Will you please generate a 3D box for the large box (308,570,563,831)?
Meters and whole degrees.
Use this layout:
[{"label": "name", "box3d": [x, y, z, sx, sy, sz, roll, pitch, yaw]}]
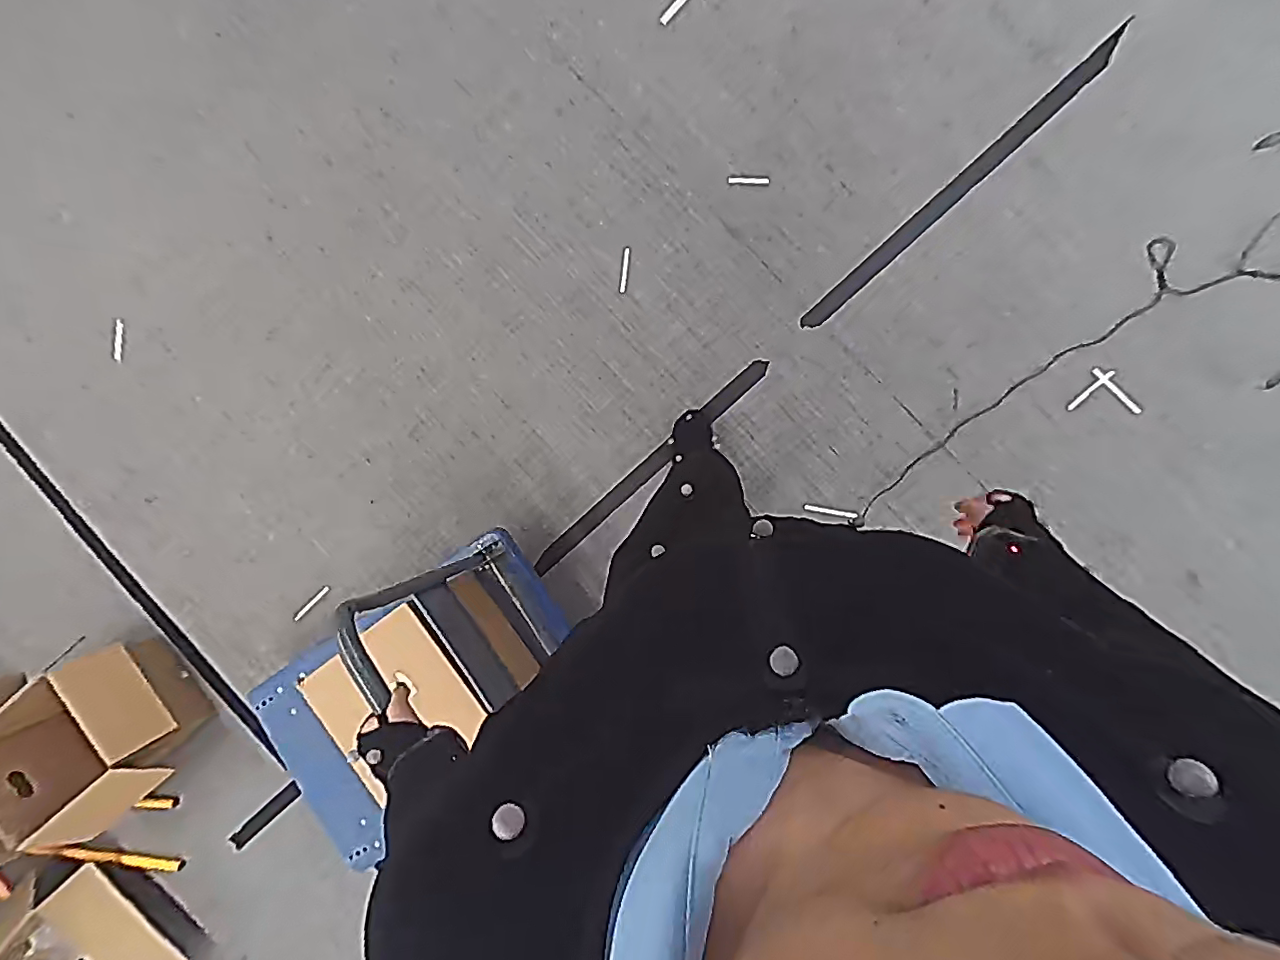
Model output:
[{"label": "large box", "box3d": [-0.447, 0.482, 1.262, 0.320, 0.320, 0.408, -37, 87, 6]}]
